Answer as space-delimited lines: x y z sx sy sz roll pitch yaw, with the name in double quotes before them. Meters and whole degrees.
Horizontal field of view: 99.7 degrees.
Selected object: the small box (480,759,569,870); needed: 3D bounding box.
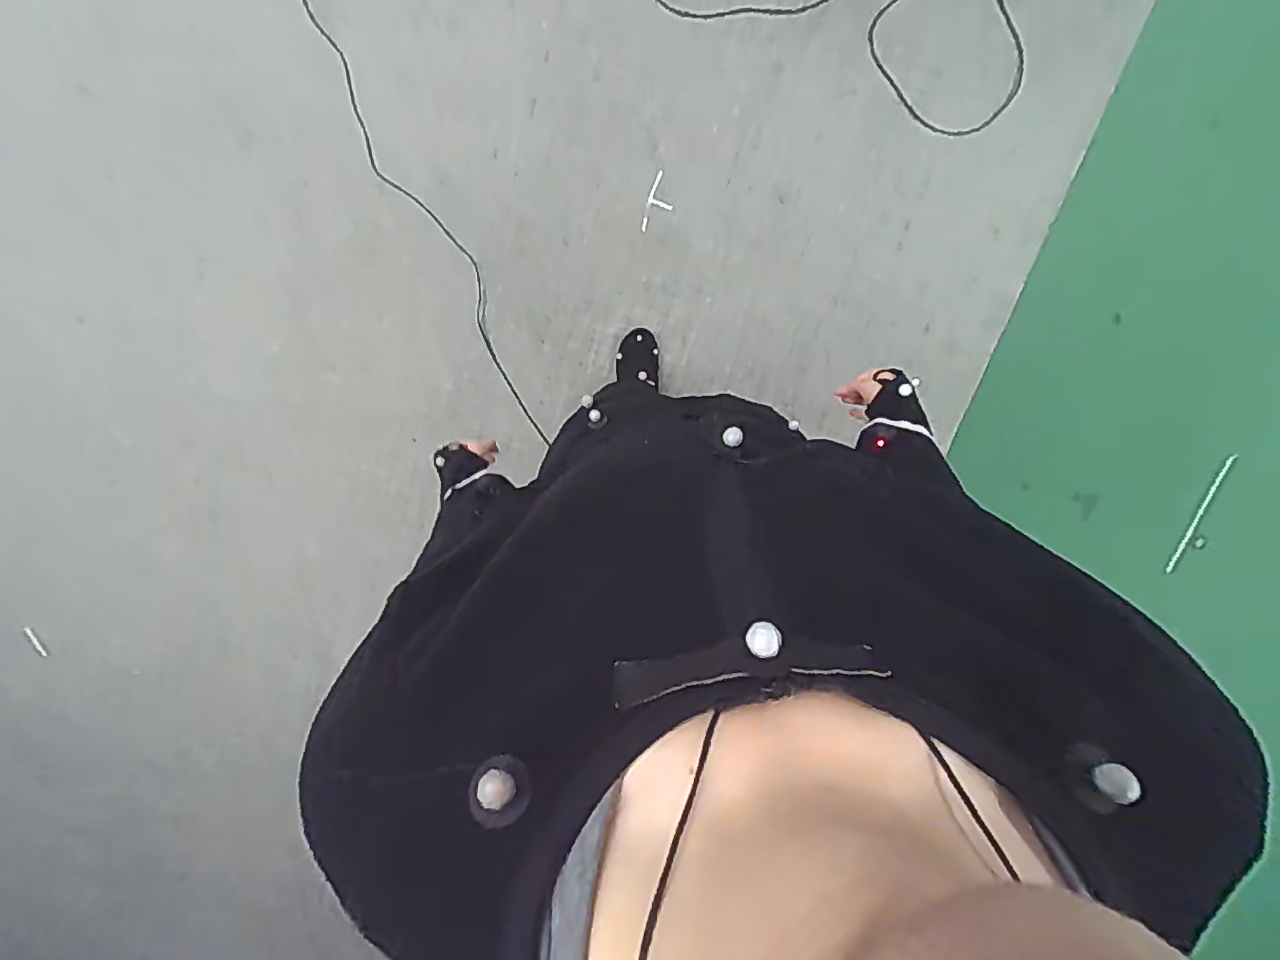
"small box" -0.294 0.862 1.409 0.179 0.176 0.168 15 100 -5
